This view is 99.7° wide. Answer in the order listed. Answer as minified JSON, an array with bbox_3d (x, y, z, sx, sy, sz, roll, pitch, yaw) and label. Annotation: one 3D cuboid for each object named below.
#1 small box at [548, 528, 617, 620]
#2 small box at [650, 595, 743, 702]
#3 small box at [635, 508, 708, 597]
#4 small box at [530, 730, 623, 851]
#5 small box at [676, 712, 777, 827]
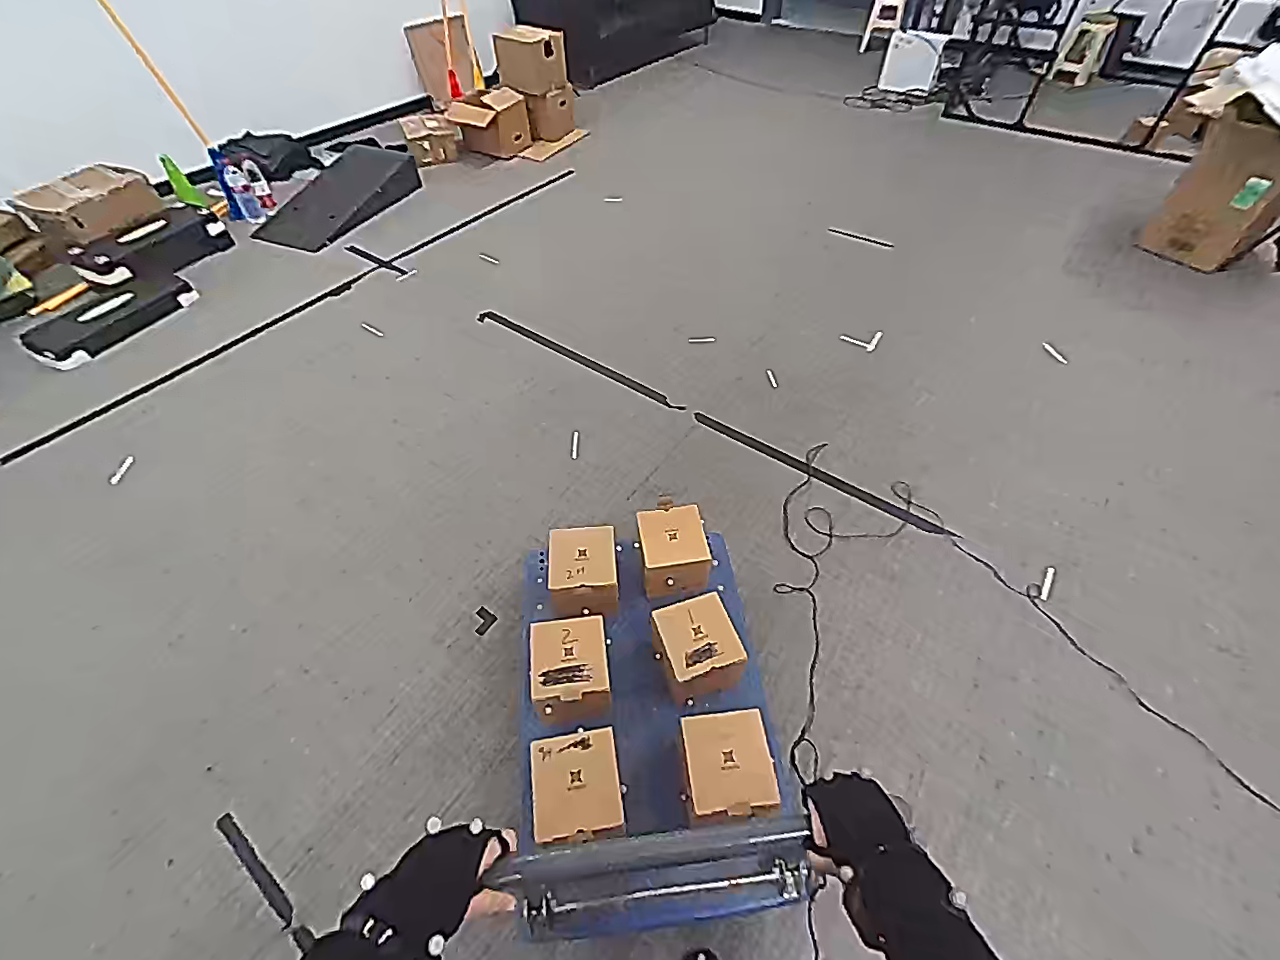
[{"bbox_3d":[-0.146,0.247,1.409,0.168,0.176,0.179,-3,51,-3],"label":"small box"},{"bbox_3d":[0.127,0.405,1.278,0.168,0.176,0.179,-14,50,-12],"label":"small box"},{"bbox_3d":[0.080,0.201,1.452,0.168,0.176,0.179,-7,50,-6],"label":"small box"},{"bbox_3d":[-0.126,0.629,1.088,0.168,0.176,0.179,-7,50,-7],"label":"small box"},{"bbox_3d":[0.169,0.600,1.115,0.168,0.176,0.179,-4,49,-4],"label":"small box"}]
